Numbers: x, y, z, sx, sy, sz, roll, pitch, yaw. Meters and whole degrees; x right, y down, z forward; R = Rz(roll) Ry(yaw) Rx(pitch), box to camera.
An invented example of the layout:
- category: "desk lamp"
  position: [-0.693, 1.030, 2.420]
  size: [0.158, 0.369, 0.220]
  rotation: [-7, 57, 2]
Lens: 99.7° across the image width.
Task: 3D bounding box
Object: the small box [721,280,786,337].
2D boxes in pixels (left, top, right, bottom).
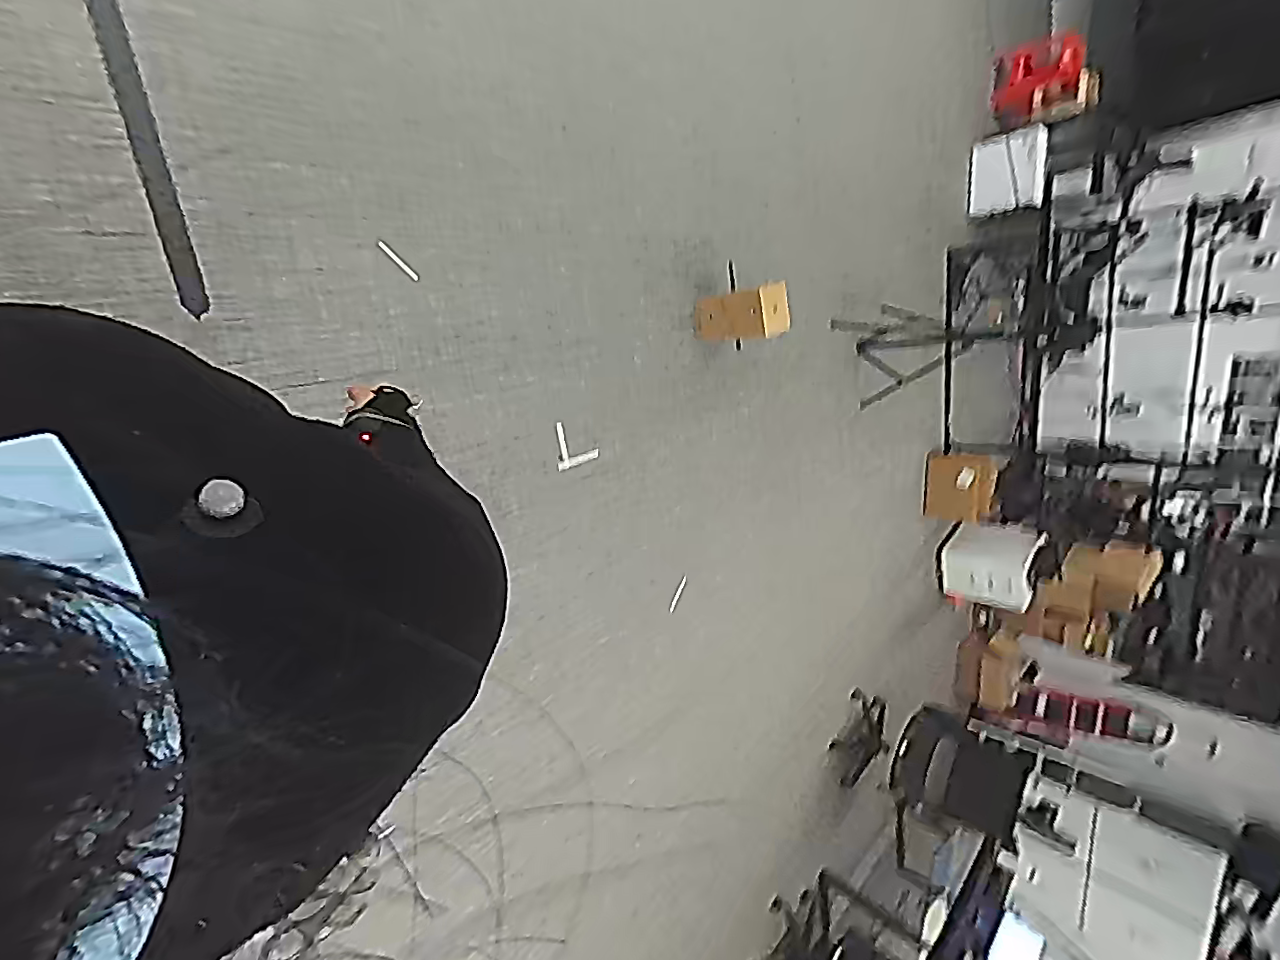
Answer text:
- category: "small box"
  position: [0.427, -0.643, 2.042]
  size: [0.168, 0.176, 0.179]
  rotation: [-27, 113, -36]

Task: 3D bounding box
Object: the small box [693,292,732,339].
- category: "small box"
  position: [0.326, -0.658, 2.169]
  size: [0.179, 0.176, 0.168]
  rotation: [-17, 108, -40]
